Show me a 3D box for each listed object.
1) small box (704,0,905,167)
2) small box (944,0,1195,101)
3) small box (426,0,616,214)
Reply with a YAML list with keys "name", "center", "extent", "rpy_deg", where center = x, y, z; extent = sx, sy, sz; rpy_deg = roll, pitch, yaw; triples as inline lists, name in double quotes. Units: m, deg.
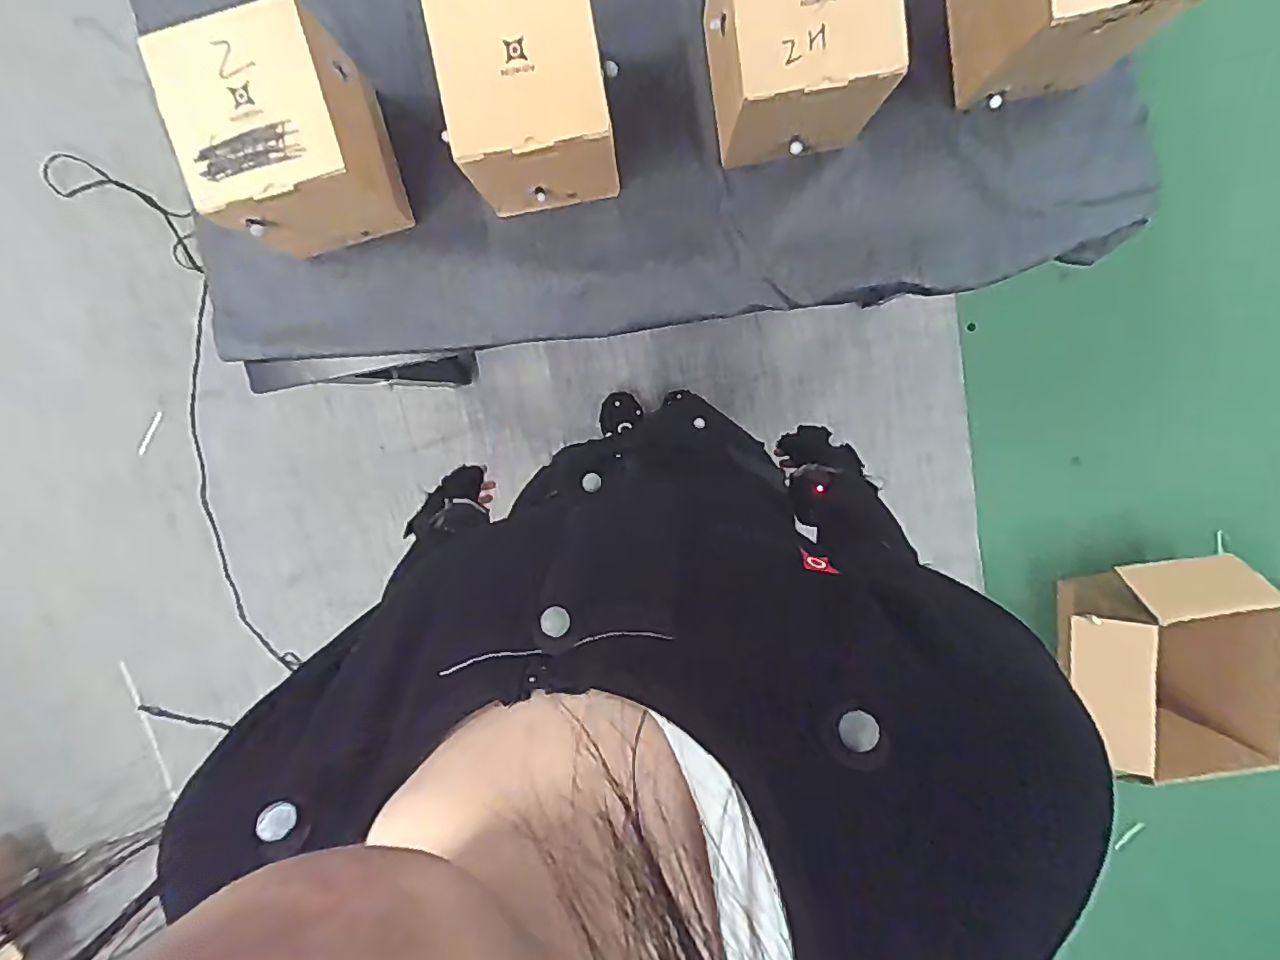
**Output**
- name: "small box"
  center: [0.171, -0.489, 0.607]
  extent: [0.168, 0.176, 0.179]
  rpy_deg: [-9, 99, 2]
- name: "small box"
  center: [0.462, -0.557, 0.597]
  extent: [0.168, 0.176, 0.179]
  rpy_deg: [-11, 98, 2]
- name: "small box"
  center: [-0.122, -0.433, 0.617]
  extent: [0.168, 0.176, 0.179]
  rpy_deg: [-10, 99, 1]
